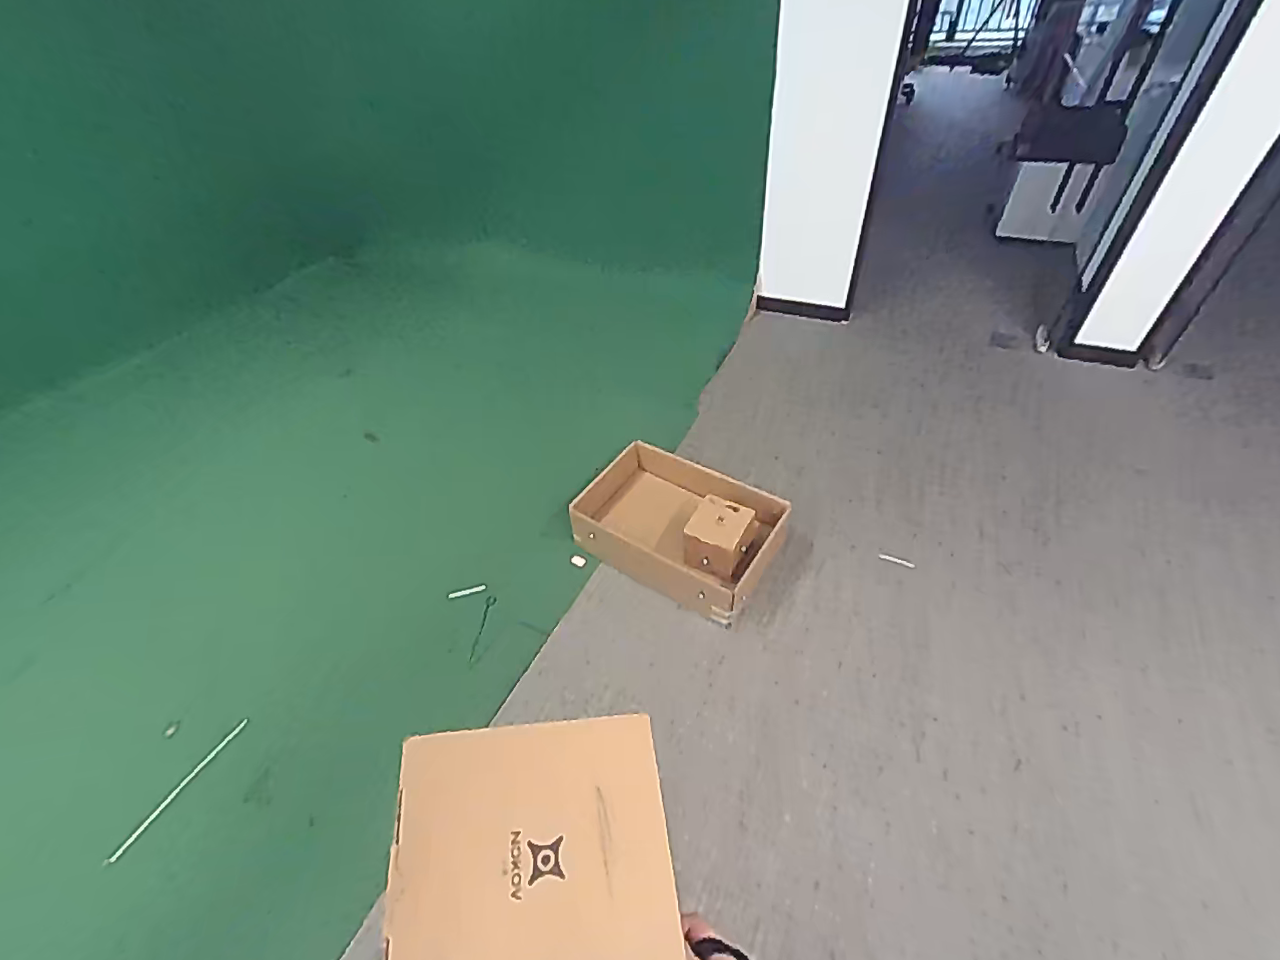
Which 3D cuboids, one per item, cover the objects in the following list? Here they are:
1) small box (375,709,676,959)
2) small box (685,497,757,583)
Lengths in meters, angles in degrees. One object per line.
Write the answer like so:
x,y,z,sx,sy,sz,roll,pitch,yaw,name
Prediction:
-0.089,0.286,0.408,0.179,0.176,0.168,2,53,-17,small box
0.254,0.191,1.689,0.168,0.176,0.179,20,52,25,small box
